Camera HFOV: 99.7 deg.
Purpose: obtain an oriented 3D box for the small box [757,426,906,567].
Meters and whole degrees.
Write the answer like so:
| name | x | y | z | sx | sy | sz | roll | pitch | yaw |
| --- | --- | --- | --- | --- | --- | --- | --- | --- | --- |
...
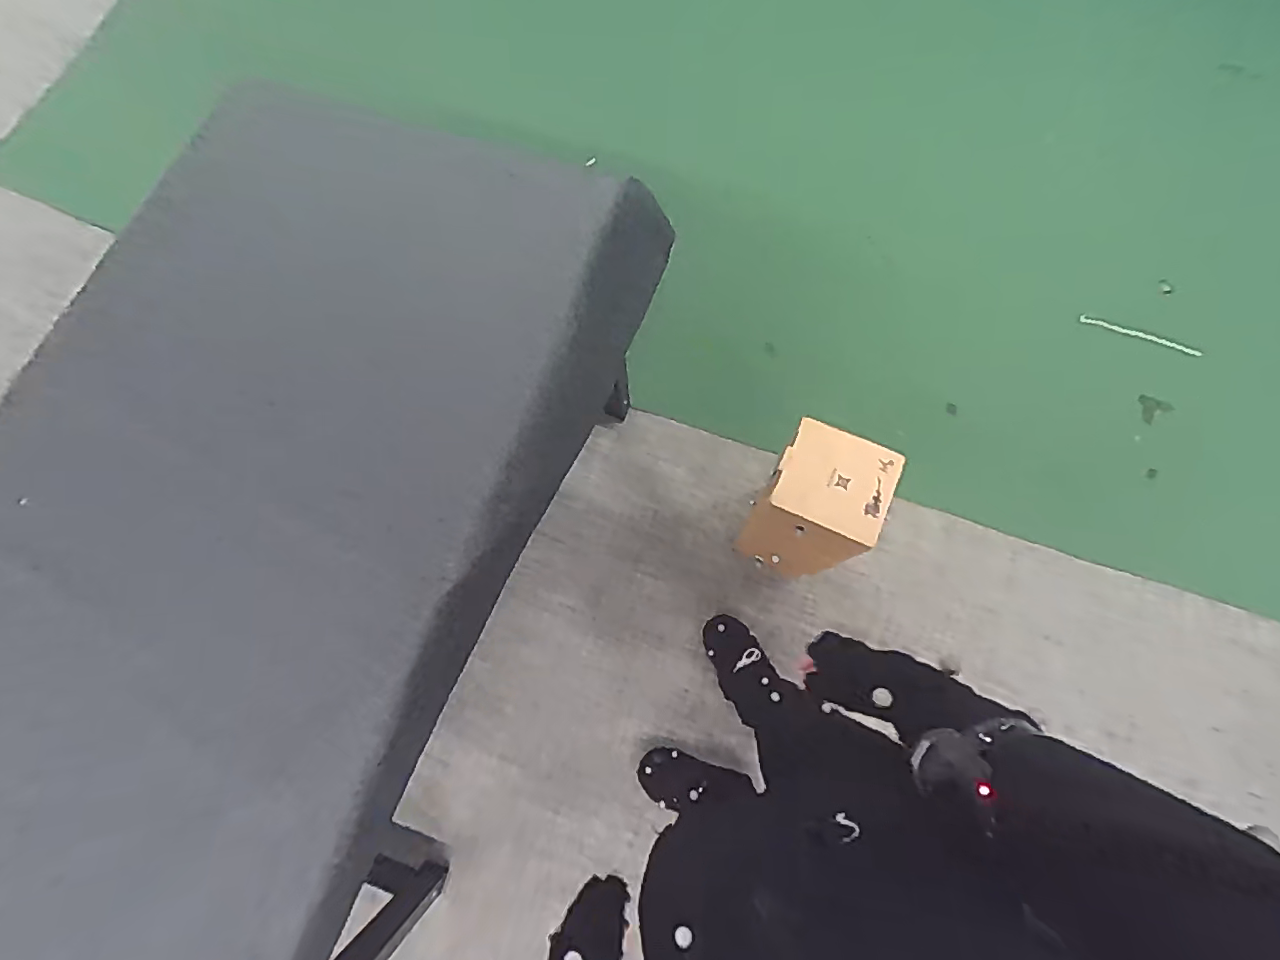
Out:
| name | x | y | z | sx | sy | sz | roll | pitch | yaw |
| --- | --- | --- | --- | --- | --- | --- | --- | --- | --- |
| small box | 0.318 | 0.037 | 0.935 | 0.179 | 0.176 | 0.168 | 24 | 75 | 10 |

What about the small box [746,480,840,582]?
| name | x | y | z | sx | sy | sz | roll | pitch | yaw |
| --- | --- | --- | --- | --- | --- | --- | --- | --- | --- |
| small box | 0.327 | 0.087 | 1.090 | 0.168 | 0.176 | 0.179 | 26 | 76 | 10 |

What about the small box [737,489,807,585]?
| name | x | y | z | sx | sy | sz | roll | pitch | yaw |
| --- | --- | --- | --- | --- | --- | --- | --- | --- | --- |
| small box | 0.337 | 0.126 | 1.251 | 0.168 | 0.176 | 0.179 | 26 | 77 | 10 |
